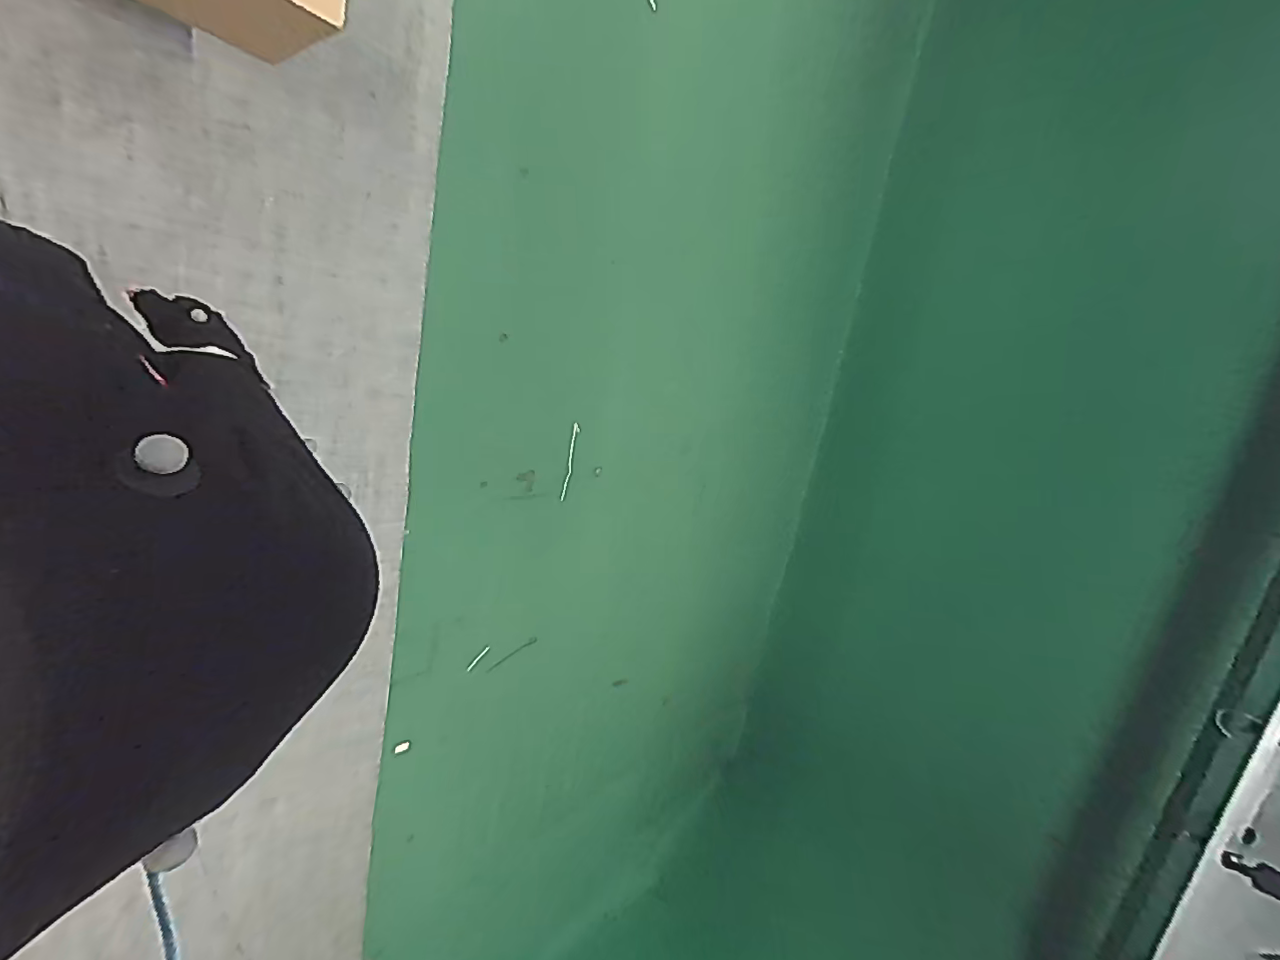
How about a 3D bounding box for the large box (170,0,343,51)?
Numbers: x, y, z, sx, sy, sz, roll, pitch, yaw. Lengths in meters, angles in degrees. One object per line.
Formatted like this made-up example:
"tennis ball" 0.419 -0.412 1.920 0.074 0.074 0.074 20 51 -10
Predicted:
"large box" -0.674 -0.899 0.754 0.408 0.320 0.320 -2 108 -50
